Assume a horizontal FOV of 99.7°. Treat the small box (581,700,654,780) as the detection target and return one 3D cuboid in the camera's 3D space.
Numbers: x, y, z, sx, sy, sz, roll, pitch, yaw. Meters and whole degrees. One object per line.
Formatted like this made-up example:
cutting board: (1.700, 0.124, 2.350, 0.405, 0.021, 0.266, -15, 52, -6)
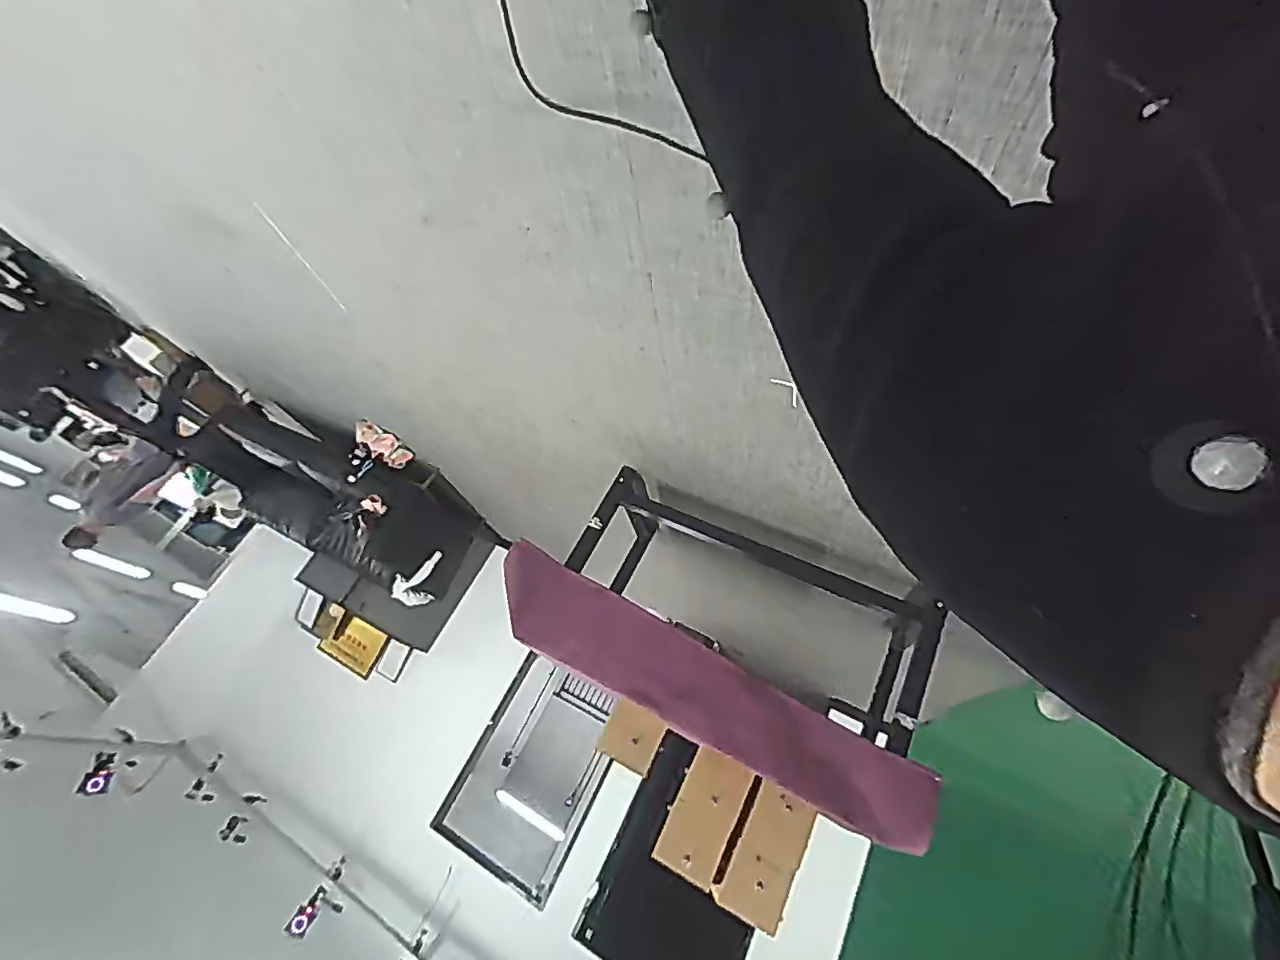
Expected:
small box: (-0.064, 0.816, 1.707, 0.179, 0.176, 0.168, 24, 157, 12)
